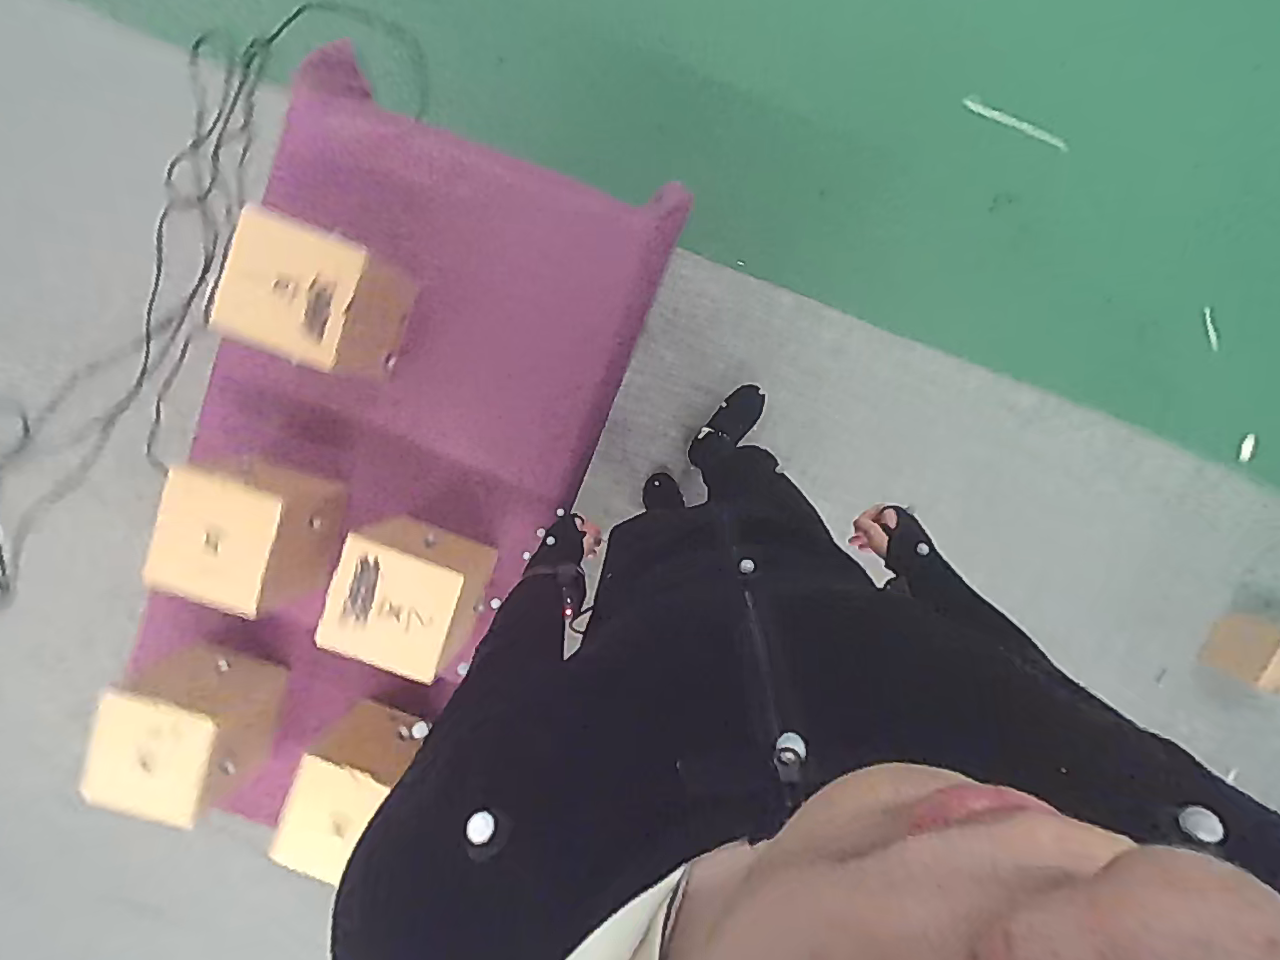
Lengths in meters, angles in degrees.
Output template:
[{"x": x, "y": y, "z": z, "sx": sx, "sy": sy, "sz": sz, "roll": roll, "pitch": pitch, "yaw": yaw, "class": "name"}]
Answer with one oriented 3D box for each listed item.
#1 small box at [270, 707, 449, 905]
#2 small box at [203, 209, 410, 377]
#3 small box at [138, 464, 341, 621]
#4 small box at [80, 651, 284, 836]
[{"x": -0.427, "y": 0.498, "z": 0.851, "sx": 0.168, "sy": 0.176, "sz": 0.179, "roll": 21, "pitch": 94, "yaw": 1, "class": "small box"}, {"x": -0.467, "y": -0.255, "z": 0.784, "sx": 0.179, "sy": 0.176, "sz": 0.168, "roll": 20, "pitch": 96, "yaw": 1, "class": "small box"}, {"x": -0.589, "y": 0.082, "z": 0.819, "sx": 0.168, "sy": 0.176, "sz": 0.179, "roll": 18, "pitch": 96, "yaw": 0, "class": "small box"}, {"x": -0.701, "y": 0.400, "z": 0.848, "sx": 0.168, "sy": 0.176, "sz": 0.179, "roll": 17, "pitch": 95, "yaw": -1, "class": "small box"}]
